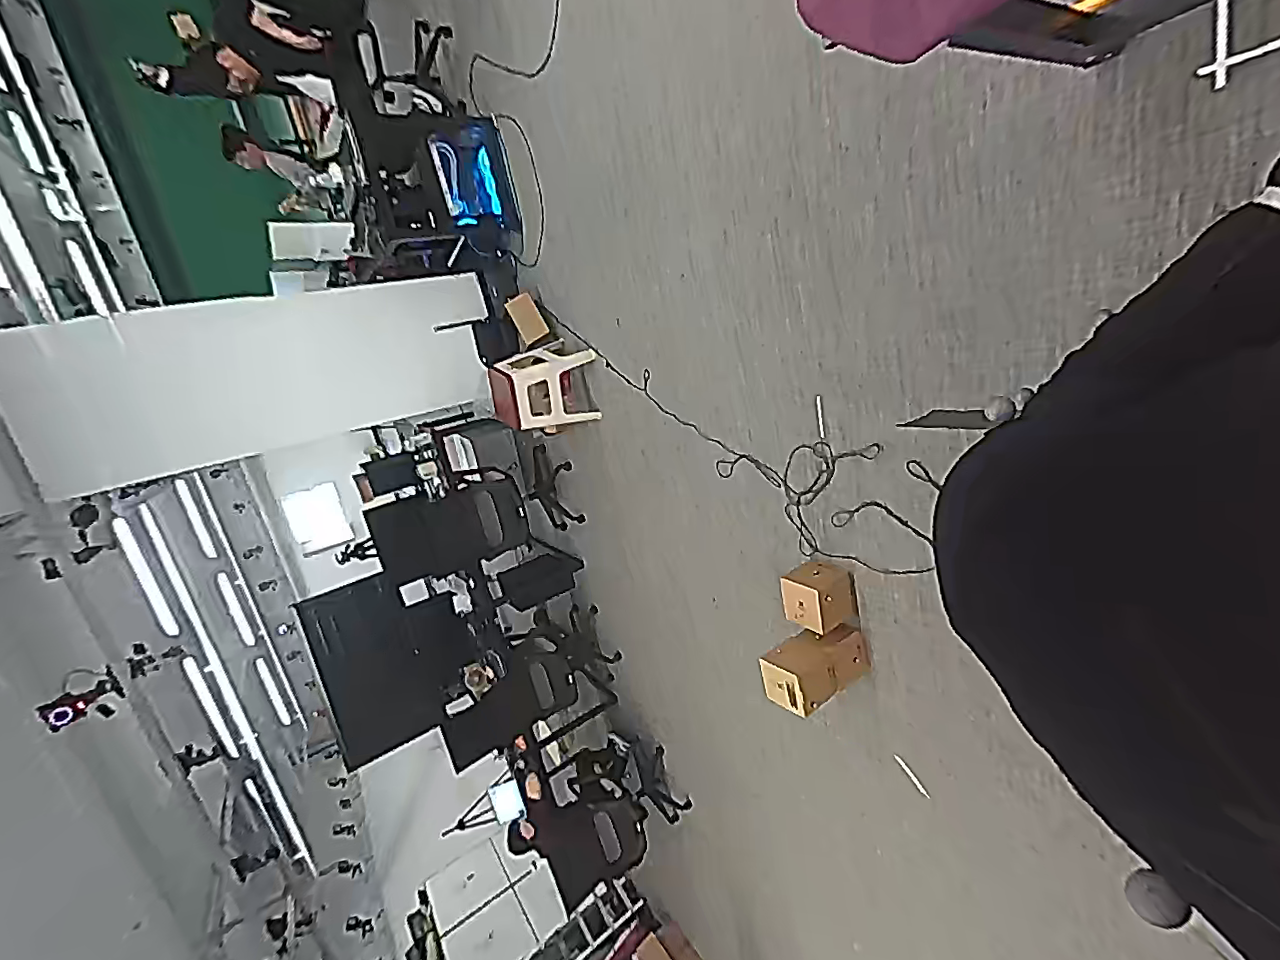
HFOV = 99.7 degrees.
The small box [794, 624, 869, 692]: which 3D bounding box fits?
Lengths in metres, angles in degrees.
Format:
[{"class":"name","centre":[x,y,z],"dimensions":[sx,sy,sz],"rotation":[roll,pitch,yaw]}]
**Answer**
[{"class":"small box","centre":[0.688,0.623,1.940],"dimensions":[0.179,0.176,0.168],"rotation":[0,109,59]}]

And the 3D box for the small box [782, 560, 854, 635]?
[{"class":"small box","centre":[0.625,0.403,1.891],"dimensions":[0.168,0.176,0.179],"rotation":[14,121,56]}]
